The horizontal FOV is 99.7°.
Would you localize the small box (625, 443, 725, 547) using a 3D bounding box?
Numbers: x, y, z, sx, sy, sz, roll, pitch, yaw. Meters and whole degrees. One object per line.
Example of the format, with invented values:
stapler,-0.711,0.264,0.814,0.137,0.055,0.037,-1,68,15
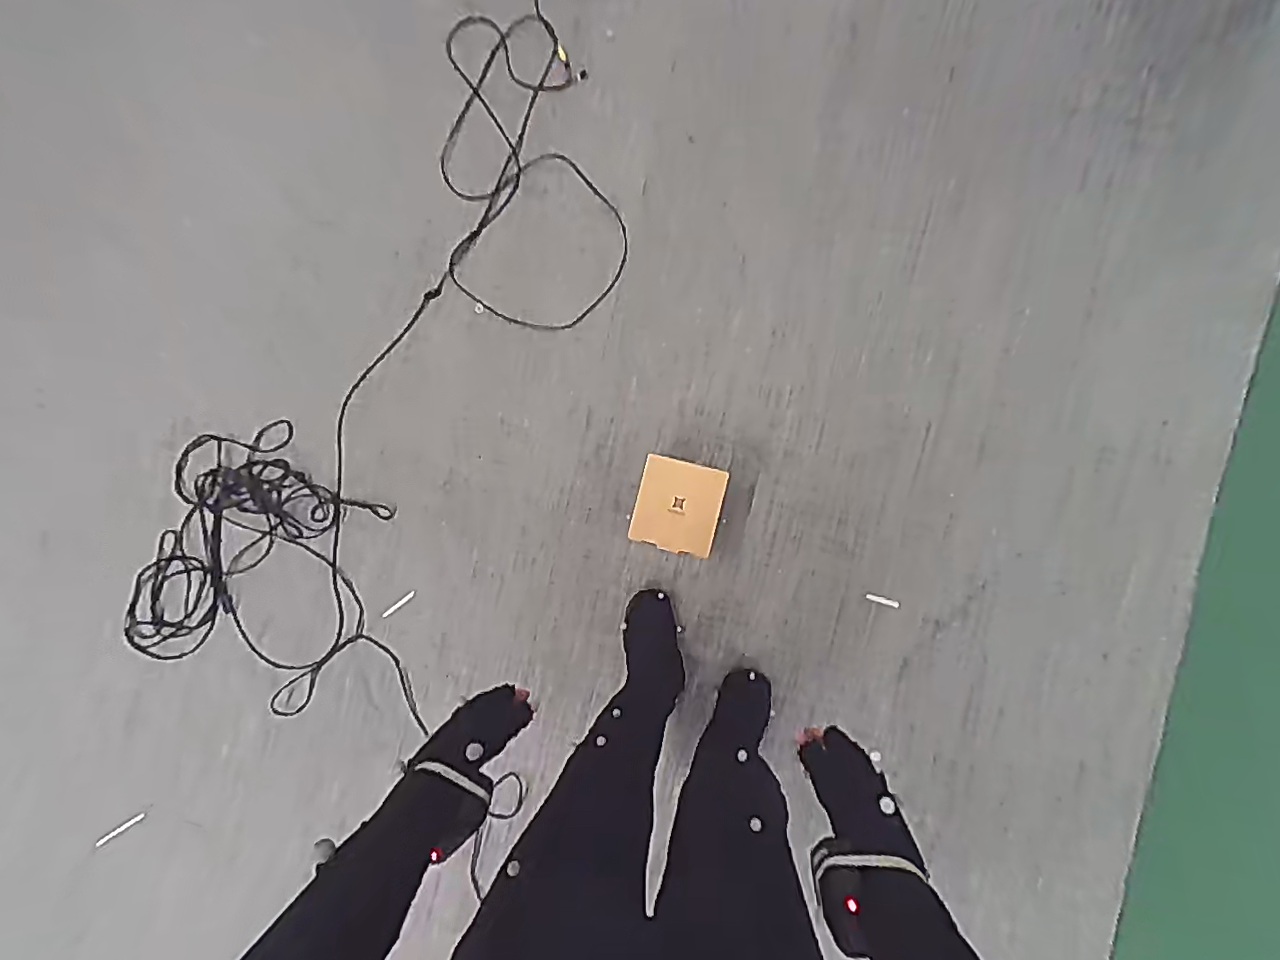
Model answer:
small box,0.075,0.031,1.142,0.168,0.176,0.179,14,91,5
